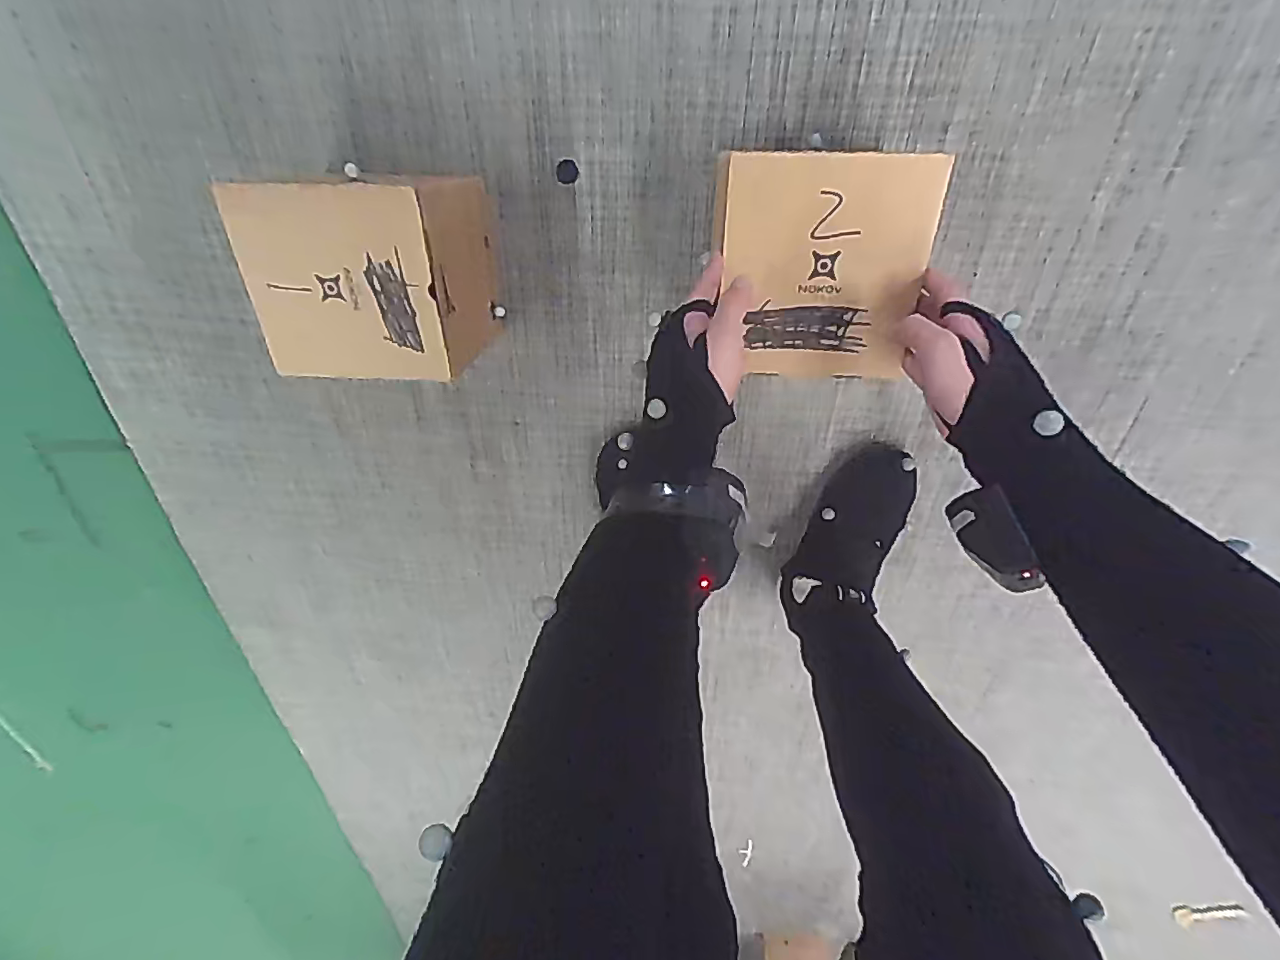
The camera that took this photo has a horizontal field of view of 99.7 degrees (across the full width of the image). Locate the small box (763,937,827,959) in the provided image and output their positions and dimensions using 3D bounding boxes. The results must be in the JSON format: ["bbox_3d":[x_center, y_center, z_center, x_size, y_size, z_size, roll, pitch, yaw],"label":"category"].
[{"bbox_3d":[0.426,1.363,1.451,0.168,0.176,0.179,-6,121,7],"label":"small box"}]

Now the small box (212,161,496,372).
[{"bbox_3d":[-0.251,-0.216,0.533,0.179,0.176,0.168,3,121,3],"label":"small box"}]
